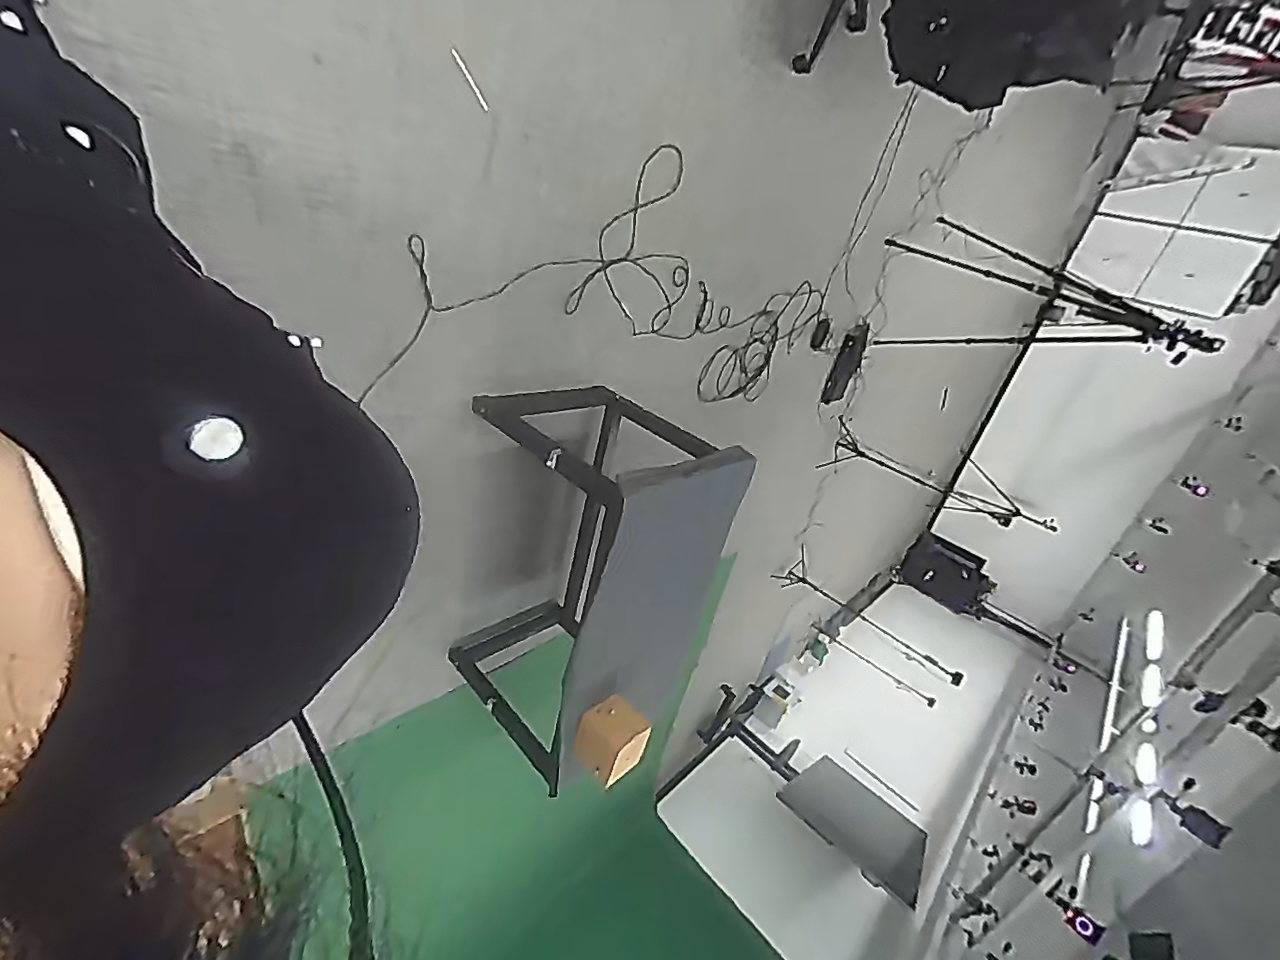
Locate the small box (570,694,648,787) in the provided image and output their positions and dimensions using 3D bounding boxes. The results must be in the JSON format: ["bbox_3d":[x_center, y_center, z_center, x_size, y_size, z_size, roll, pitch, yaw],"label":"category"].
[{"bbox_3d":[-0.107,0.839,1.760,0.168,0.176,0.179,-11,125,-50],"label":"small box"}]

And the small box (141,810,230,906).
[{"bbox_3d":[-1.374,1.154,1.639,0.179,0.176,0.168,-12,125,-48],"label":"small box"}]

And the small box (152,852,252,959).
[{"bbox_3d":[-1.255,1.226,1.551,0.179,0.176,0.168,-21,131,-39],"label":"small box"}]
